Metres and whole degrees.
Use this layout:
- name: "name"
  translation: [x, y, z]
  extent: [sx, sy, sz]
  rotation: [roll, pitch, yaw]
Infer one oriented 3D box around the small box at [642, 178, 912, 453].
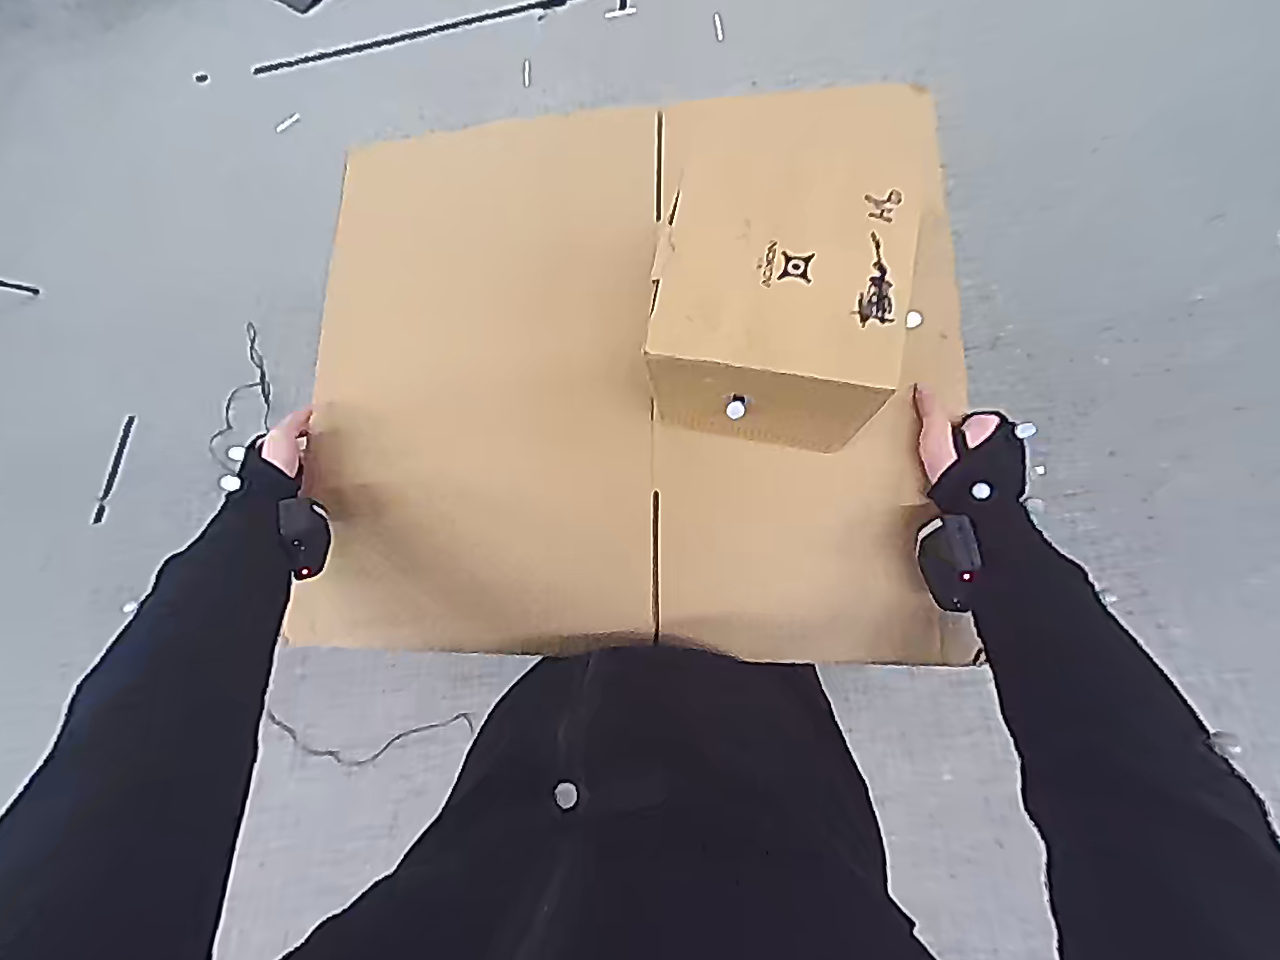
- name: "small box"
  translation: [0.112, -0.130, 0.476]
  extent: [0.179, 0.176, 0.168]
  rotation: [10, 80, 10]
